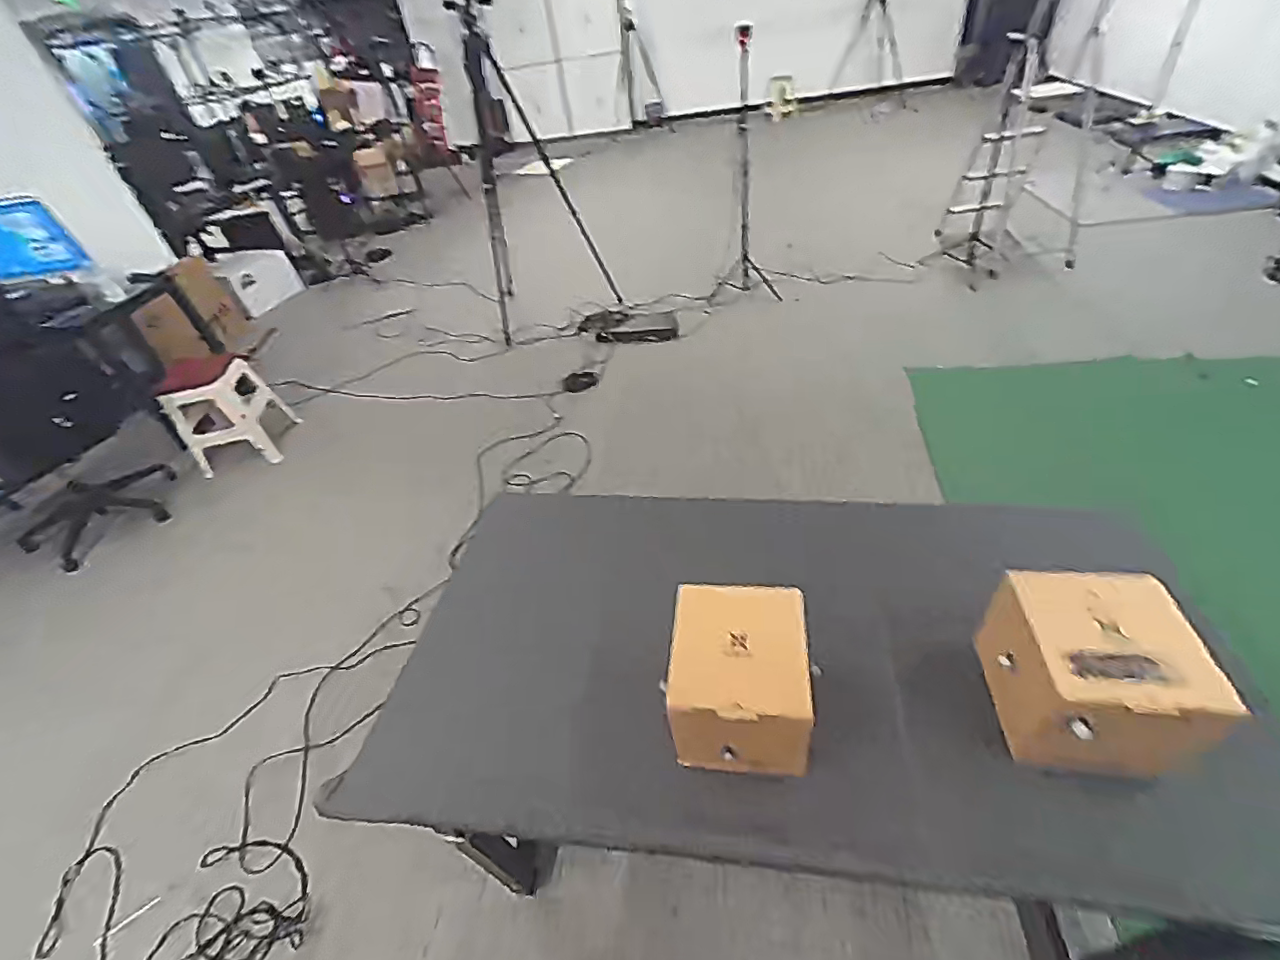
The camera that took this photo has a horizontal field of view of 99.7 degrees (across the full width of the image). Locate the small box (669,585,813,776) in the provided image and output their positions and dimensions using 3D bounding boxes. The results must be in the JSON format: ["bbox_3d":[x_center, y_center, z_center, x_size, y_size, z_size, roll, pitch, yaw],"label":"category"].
[{"bbox_3d":[0.133,0.264,0.723,0.168,0.176,0.179,1,43,11],"label":"small box"}]
